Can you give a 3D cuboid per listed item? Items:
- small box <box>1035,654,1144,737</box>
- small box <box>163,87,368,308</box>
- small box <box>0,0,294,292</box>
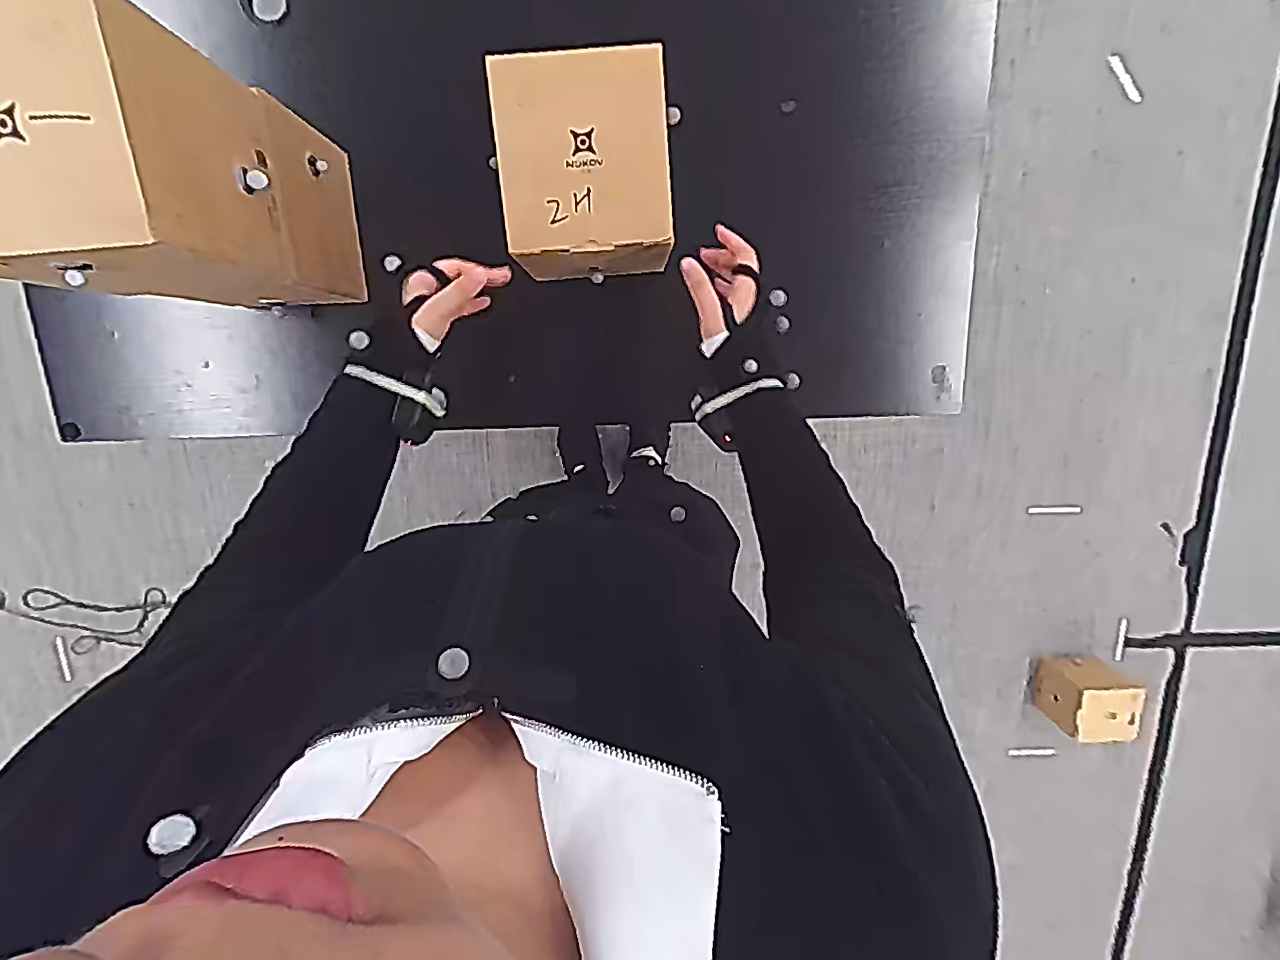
[{"bbox_3d":[1.306,0.626,1.584,0.179,0.176,0.168,-1,102,0],"label":"small box"},{"bbox_3d":[-0.430,-0.293,0.597,0.168,0.176,0.179,-3,103,0],"label":"small box"},{"bbox_3d":[-0.428,-0.253,0.437,0.179,0.176,0.168,-5,102,-1],"label":"small box"}]
